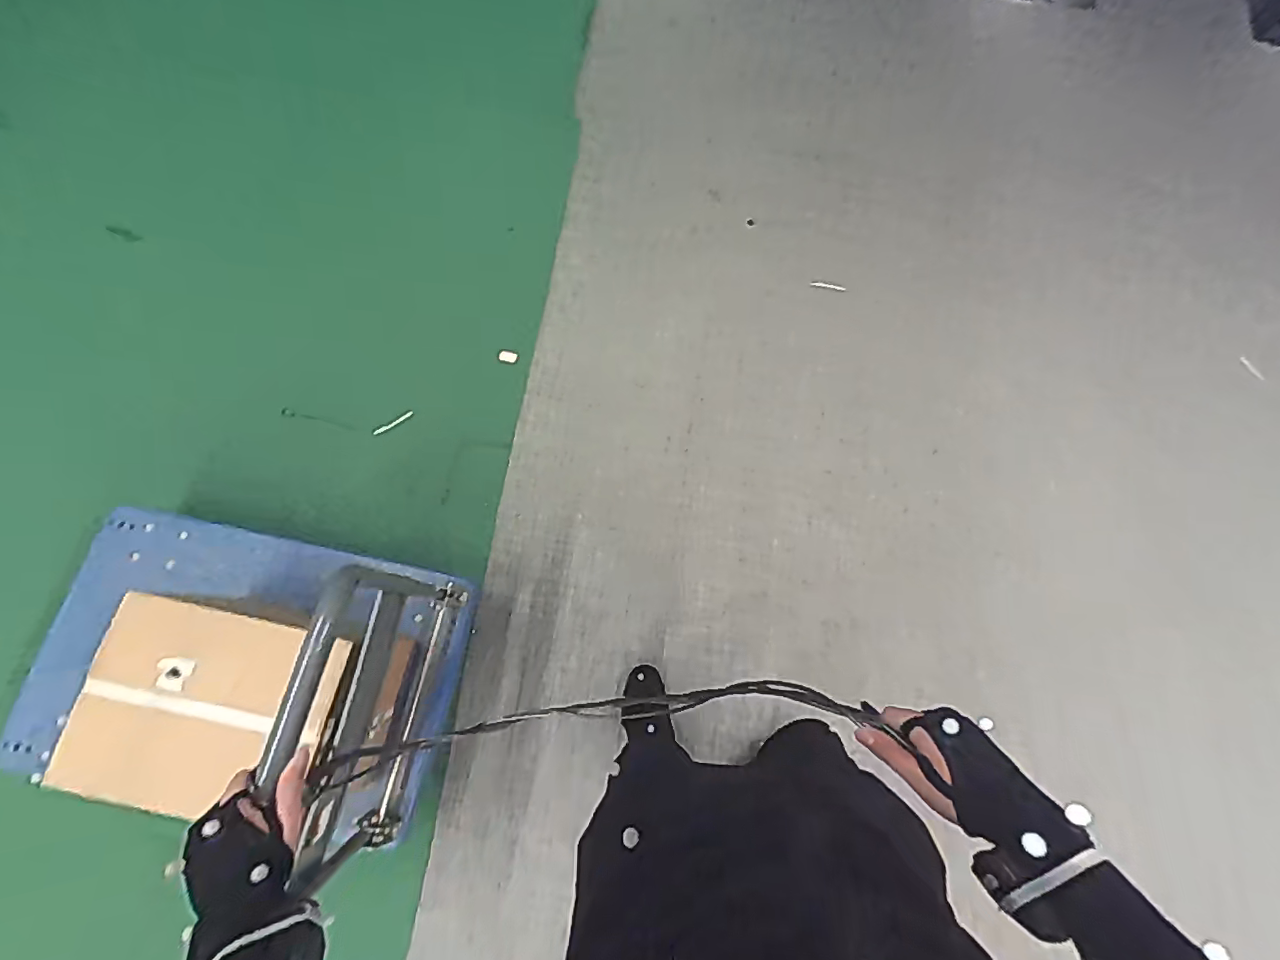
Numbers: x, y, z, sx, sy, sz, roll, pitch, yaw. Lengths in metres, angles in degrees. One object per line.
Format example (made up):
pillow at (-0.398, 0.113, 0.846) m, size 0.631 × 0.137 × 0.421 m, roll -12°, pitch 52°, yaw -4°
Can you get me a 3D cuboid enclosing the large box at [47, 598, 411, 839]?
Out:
large box at (-0.725, 0.423, 1.038) m, size 0.408 × 0.320 × 0.320 m, roll 13°, pitch 75°, yaw 1°
